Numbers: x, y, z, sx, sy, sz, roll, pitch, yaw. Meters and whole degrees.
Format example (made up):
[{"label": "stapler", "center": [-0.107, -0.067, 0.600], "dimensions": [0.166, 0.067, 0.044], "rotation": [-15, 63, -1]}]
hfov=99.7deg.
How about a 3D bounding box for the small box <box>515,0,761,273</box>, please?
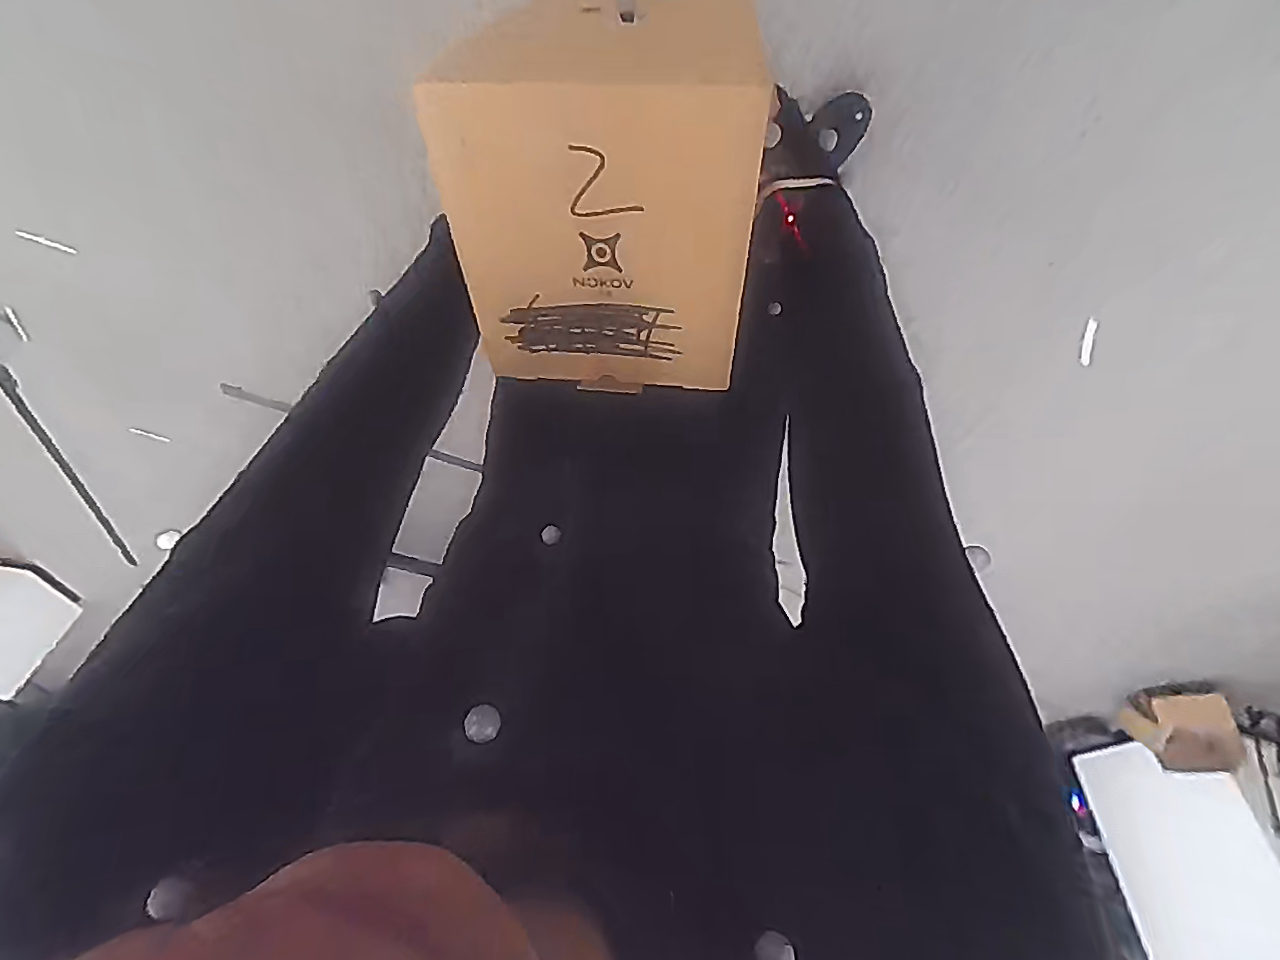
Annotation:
[{"label": "small box", "center": [0.007, -0.301, 0.464], "dimensions": [0.168, 0.176, 0.179], "rotation": [2, 141, 6]}]
